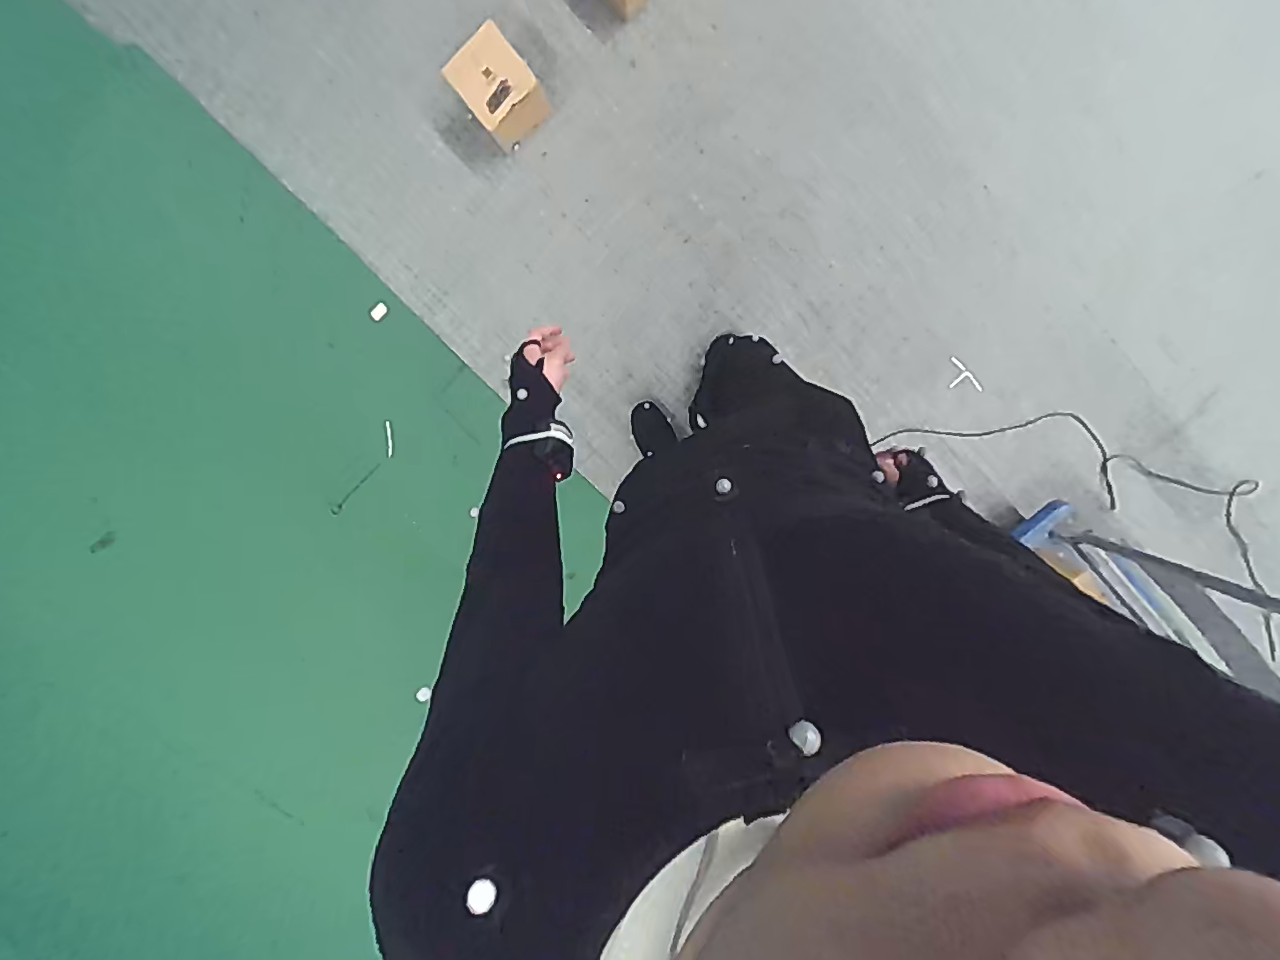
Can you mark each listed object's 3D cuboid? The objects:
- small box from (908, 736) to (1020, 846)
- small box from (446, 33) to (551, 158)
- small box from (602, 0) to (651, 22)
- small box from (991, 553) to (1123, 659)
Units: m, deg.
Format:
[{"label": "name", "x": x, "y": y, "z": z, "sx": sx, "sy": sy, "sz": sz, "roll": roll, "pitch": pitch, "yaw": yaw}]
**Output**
[{"label": "small box", "x": 0.906, "y": 0.870, "z": 1.528, "sx": 0.179, "sy": 0.176, "sz": 0.168, "roll": 44, "pitch": 99, "yaw": -7}, {"label": "small box", "x": -0.349, "y": -0.960, "z": 1.377, "sx": 0.168, "sy": 0.176, "sz": 0.179, "roll": -39, "pitch": 97, "yaw": 9}, {"label": "small box", "x": -0.035, "y": -1.251, "z": 1.285, "sx": 0.168, "sy": 0.176, "sz": 0.179, "roll": -42, "pitch": 98, "yaw": 10}, {"label": "small box", "x": 1.073, "y": 0.317, "z": 1.405, "sx": 0.179, "sy": 0.176, "sz": 0.168, "roll": -41, "pitch": 98, "yaw": 10}]
